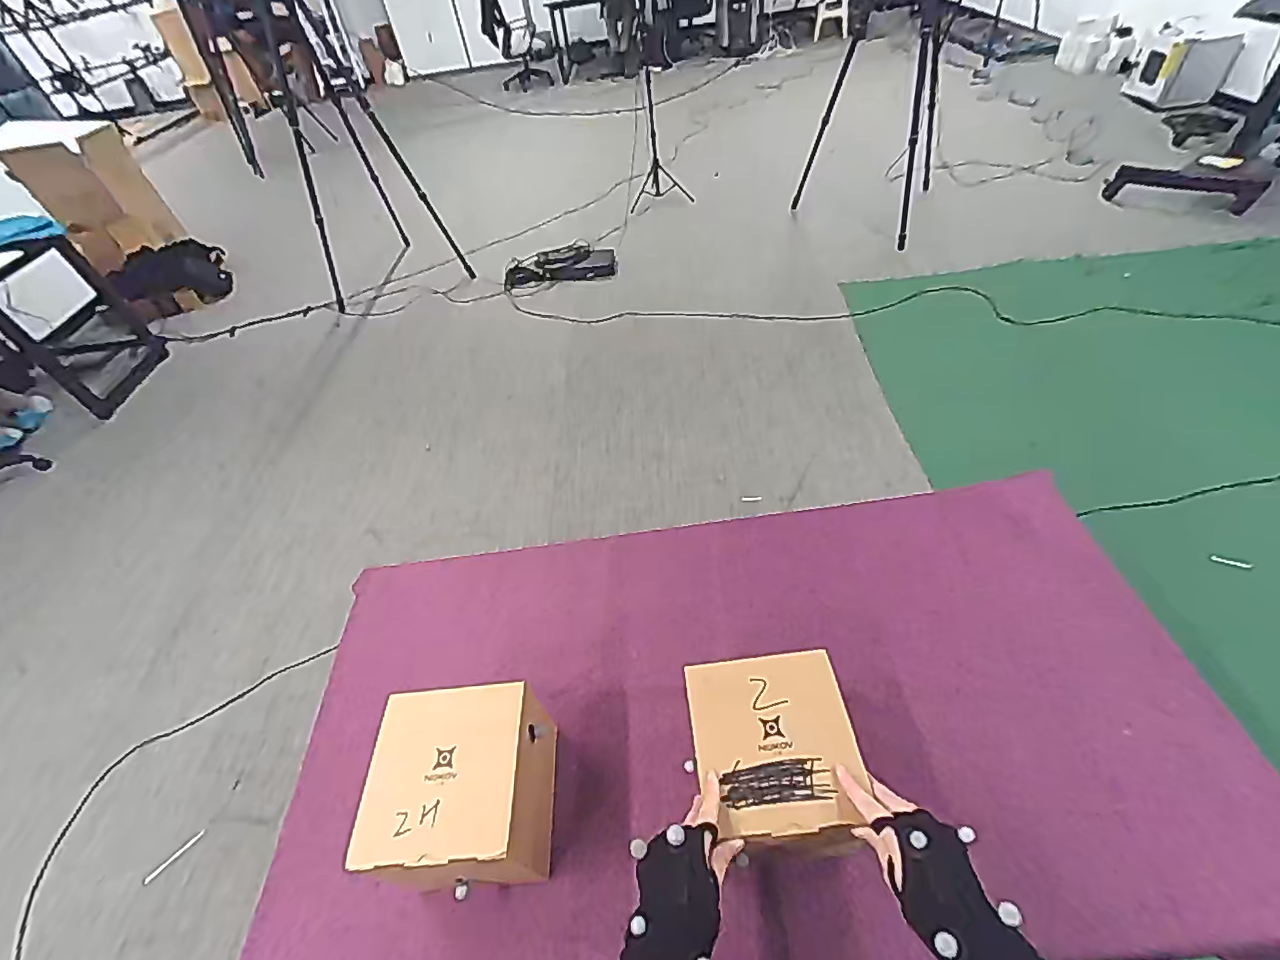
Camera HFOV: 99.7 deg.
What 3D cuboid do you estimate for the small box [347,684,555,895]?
[{"bbox_3d":[-0.201,0.366,0.638,0.168,0.176,0.179,-7,47,3],"label":"small box"}]
